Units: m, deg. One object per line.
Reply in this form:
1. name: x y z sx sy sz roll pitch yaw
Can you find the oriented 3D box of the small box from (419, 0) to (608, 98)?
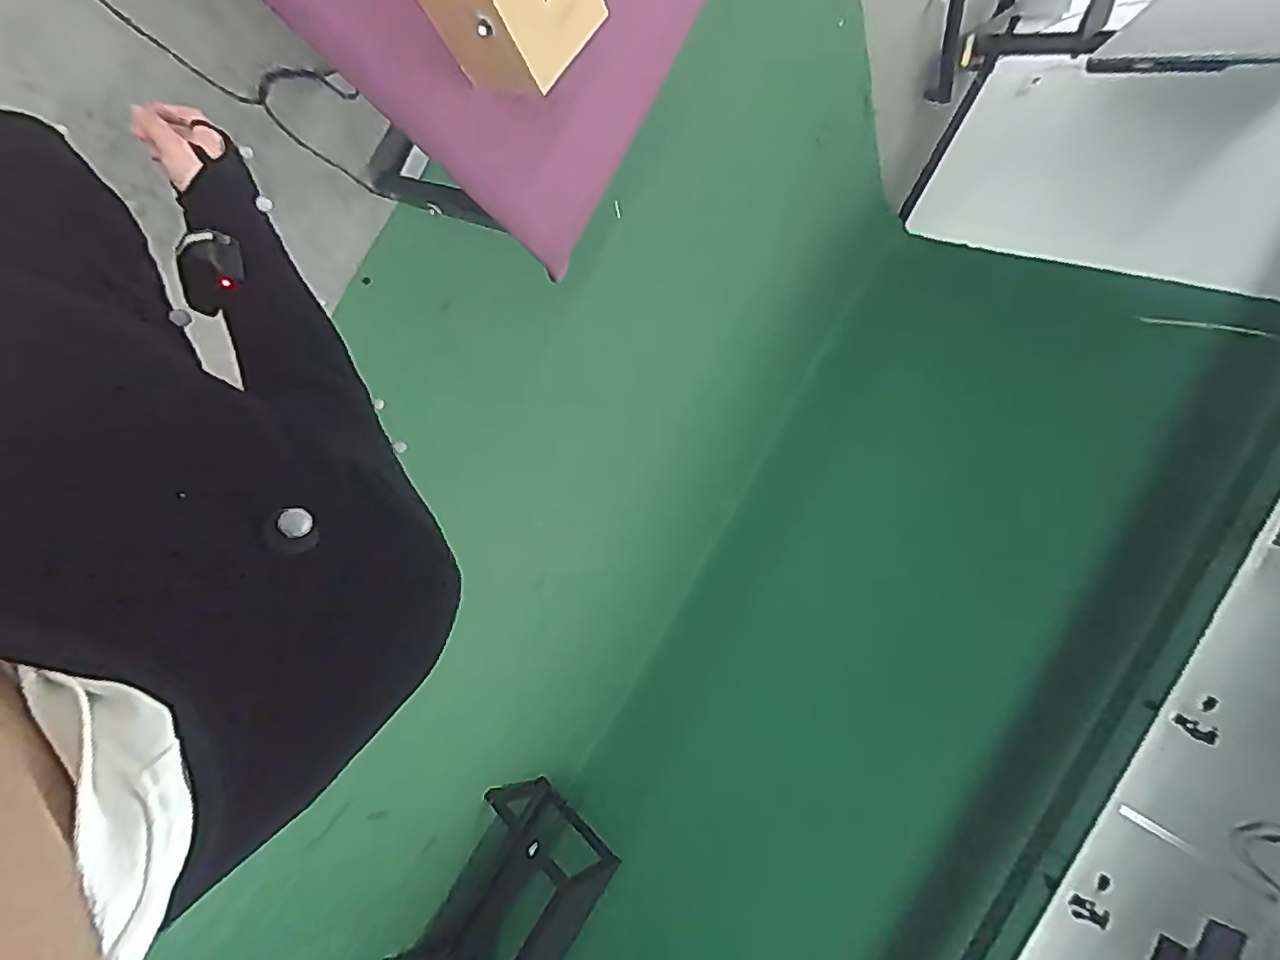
1. small box: -0.182 -0.666 0.745 0.168 0.176 0.179 -55 147 -8
